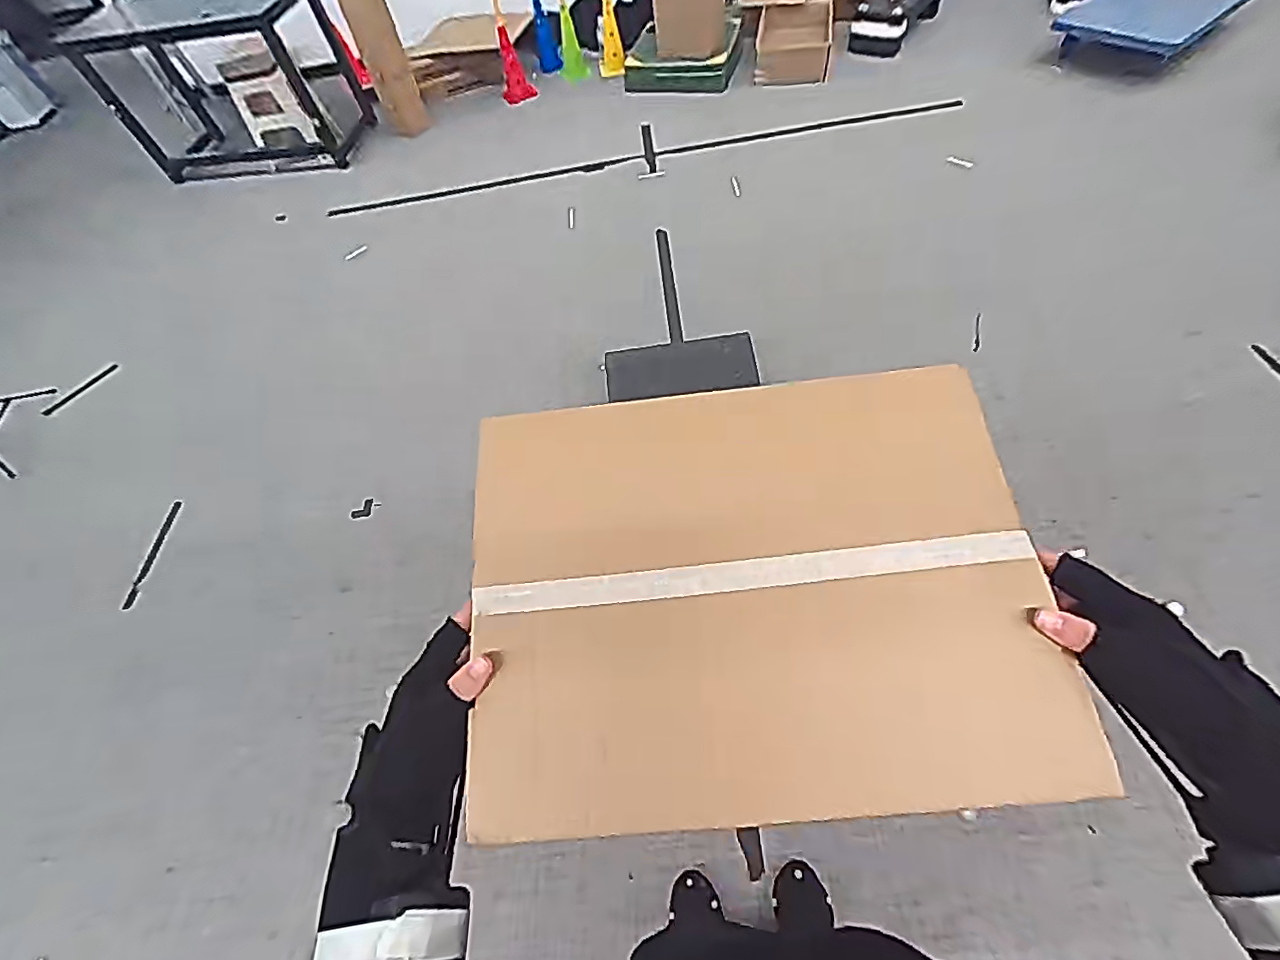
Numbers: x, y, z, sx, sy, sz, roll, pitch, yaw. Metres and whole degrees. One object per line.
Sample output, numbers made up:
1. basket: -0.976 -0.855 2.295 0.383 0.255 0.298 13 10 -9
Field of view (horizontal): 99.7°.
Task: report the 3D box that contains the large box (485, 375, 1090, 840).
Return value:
1. large box: 0.093 0.130 0.545 0.408 0.320 0.320 -7 66 3
